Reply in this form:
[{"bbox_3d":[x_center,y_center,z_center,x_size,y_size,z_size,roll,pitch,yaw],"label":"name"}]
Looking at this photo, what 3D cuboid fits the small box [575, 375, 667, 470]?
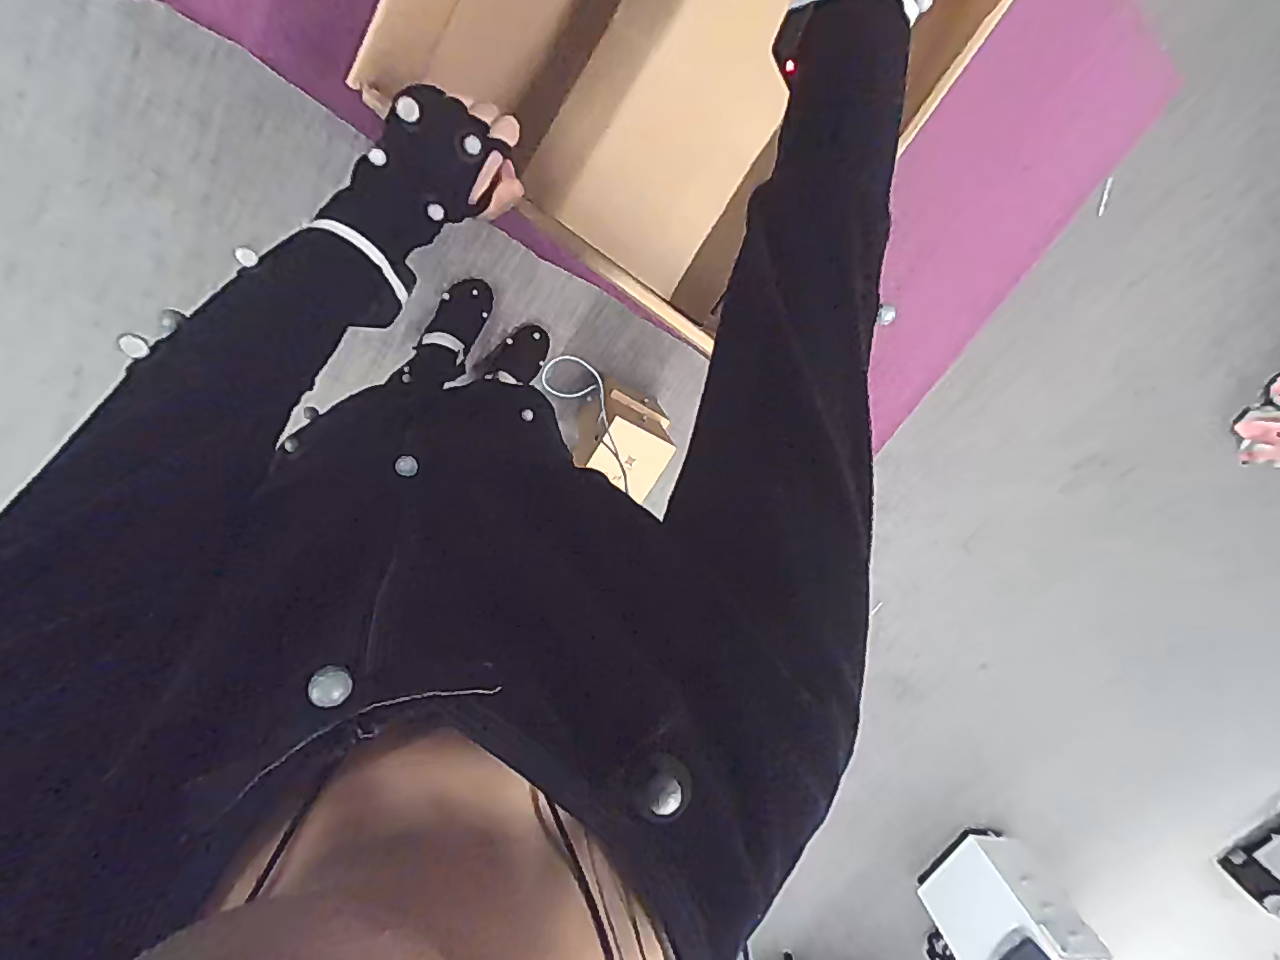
[{"bbox_3d":[-0.057,-0.159,1.438,0.179,0.176,0.168,27,107,-22],"label":"small box"}]
